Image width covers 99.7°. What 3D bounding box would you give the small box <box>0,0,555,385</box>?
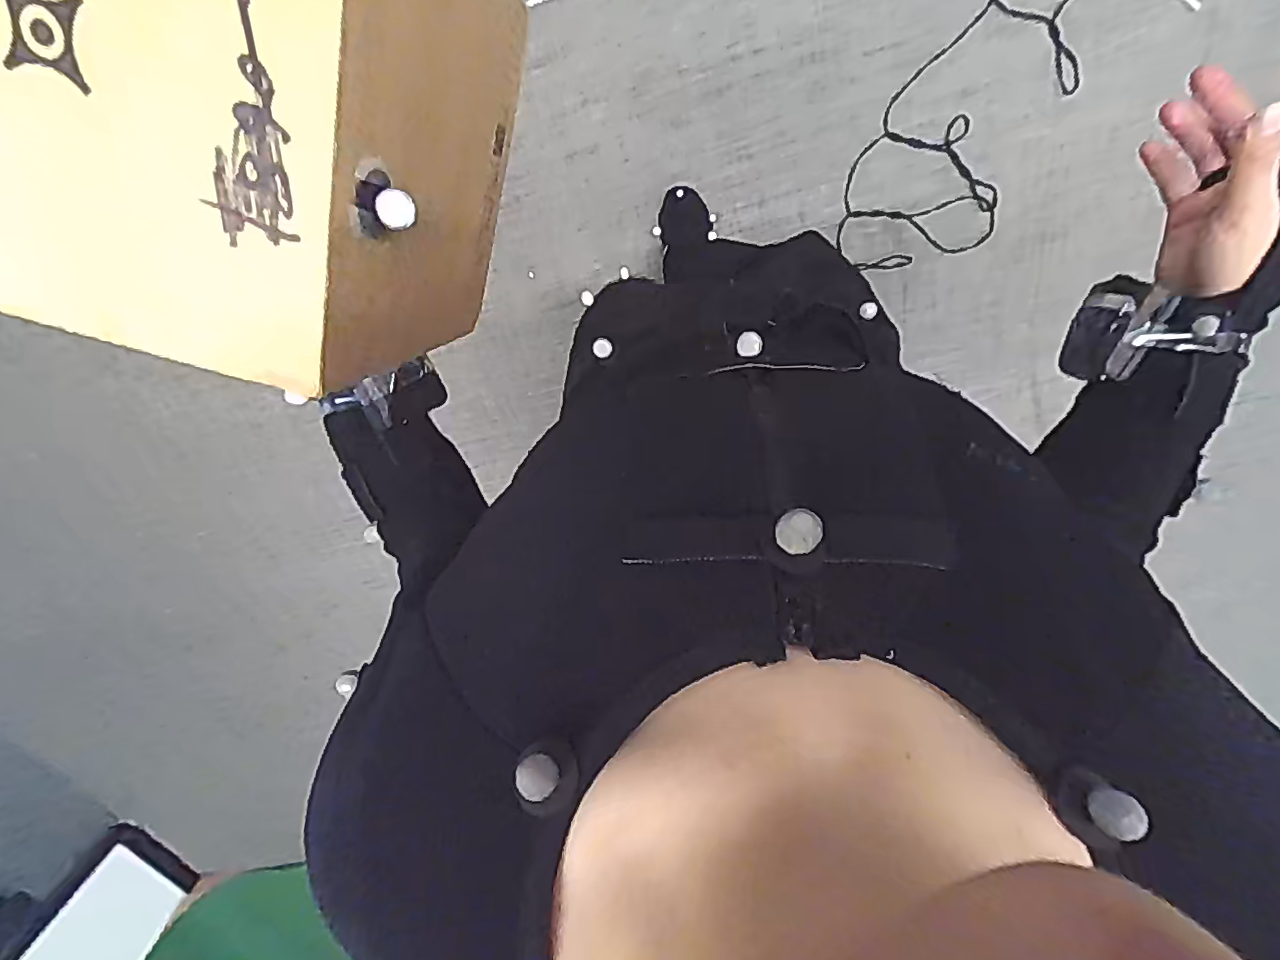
[{"bbox_3d":[-0.152,-0.158,0.228,0.179,0.176,0.168,17,114,-3],"label":"small box"}]
